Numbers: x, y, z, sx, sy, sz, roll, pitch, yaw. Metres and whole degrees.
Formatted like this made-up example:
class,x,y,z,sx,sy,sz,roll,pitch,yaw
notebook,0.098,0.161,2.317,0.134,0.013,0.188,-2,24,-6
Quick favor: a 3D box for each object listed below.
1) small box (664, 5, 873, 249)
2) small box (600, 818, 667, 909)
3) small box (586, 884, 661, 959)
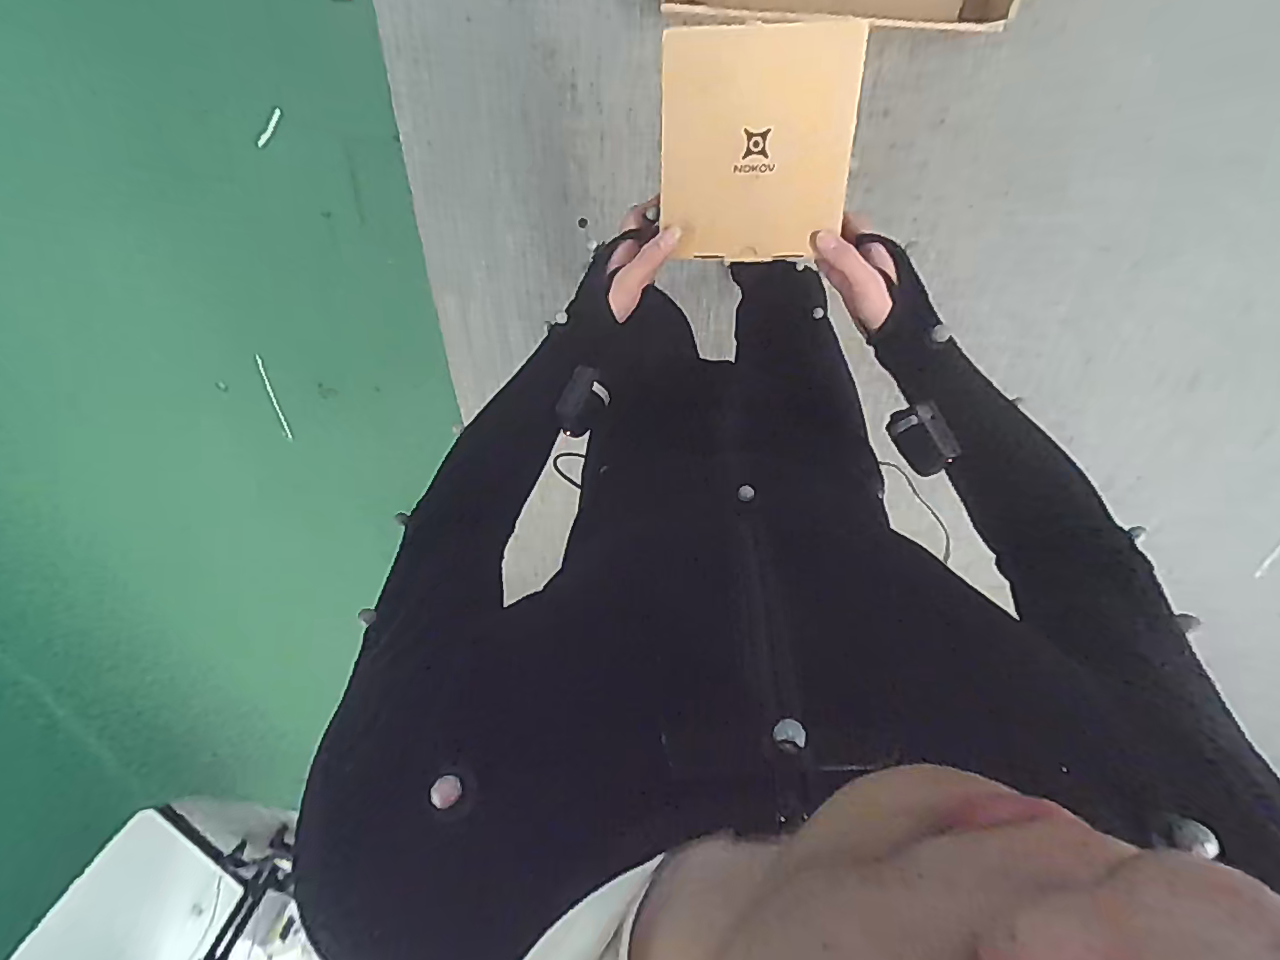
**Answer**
class,x,y,z,sx,sy,sz,roll,pitch,yaw
small box,0.107,-0.324,0.531,0.168,0.176,0.179,1,116,4
small box,-0.014,1.108,1.556,0.168,0.176,0.179,1,124,8
small box,-0.035,1.201,1.422,0.168,0.176,0.179,0,125,8
